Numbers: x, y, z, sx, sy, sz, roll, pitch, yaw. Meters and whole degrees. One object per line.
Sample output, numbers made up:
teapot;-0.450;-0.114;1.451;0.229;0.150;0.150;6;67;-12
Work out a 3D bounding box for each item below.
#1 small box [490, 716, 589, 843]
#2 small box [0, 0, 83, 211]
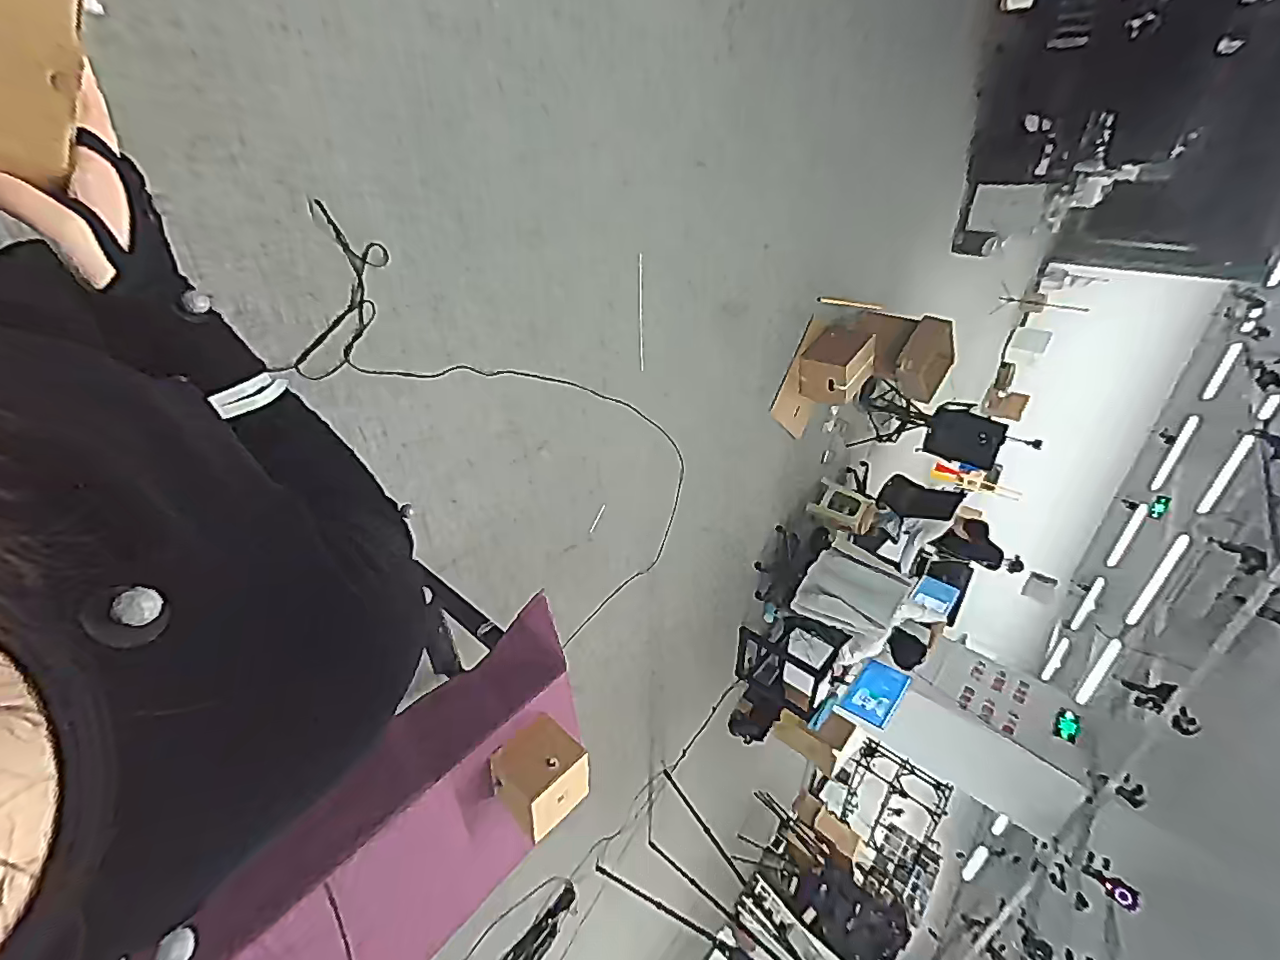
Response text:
small box;-0.244;0.724;1.330;0.179;0.176;0.168;-26;129;-41
small box;-0.384;-0.273;0.246;0.179;0.176;0.168;0;150;-49
